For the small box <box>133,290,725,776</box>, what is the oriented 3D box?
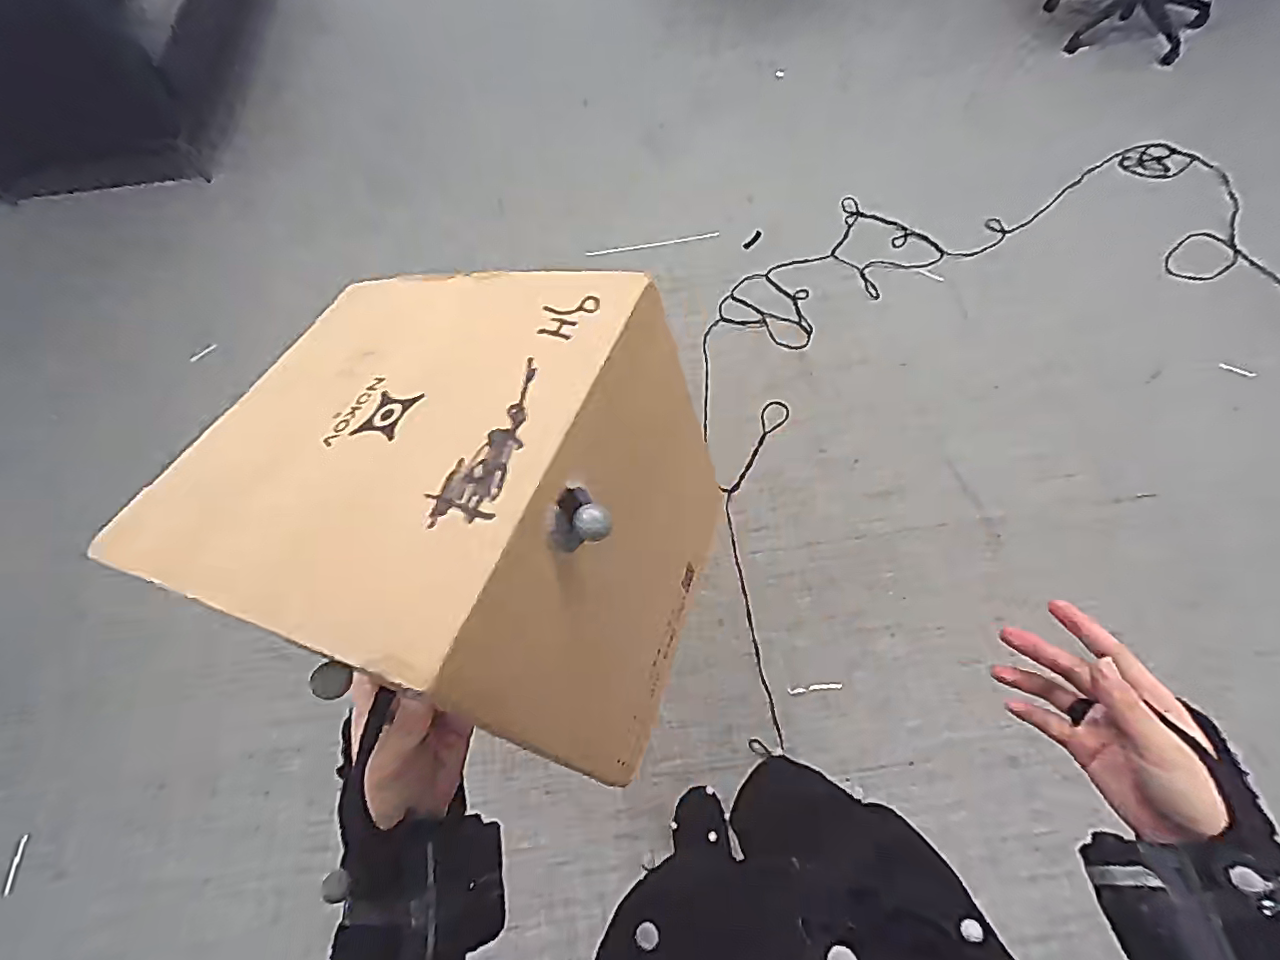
[{"bbox_3d":[-0.072,0.028,0.273,0.179,0.176,0.168,7,58,26],"label":"small box"}]
